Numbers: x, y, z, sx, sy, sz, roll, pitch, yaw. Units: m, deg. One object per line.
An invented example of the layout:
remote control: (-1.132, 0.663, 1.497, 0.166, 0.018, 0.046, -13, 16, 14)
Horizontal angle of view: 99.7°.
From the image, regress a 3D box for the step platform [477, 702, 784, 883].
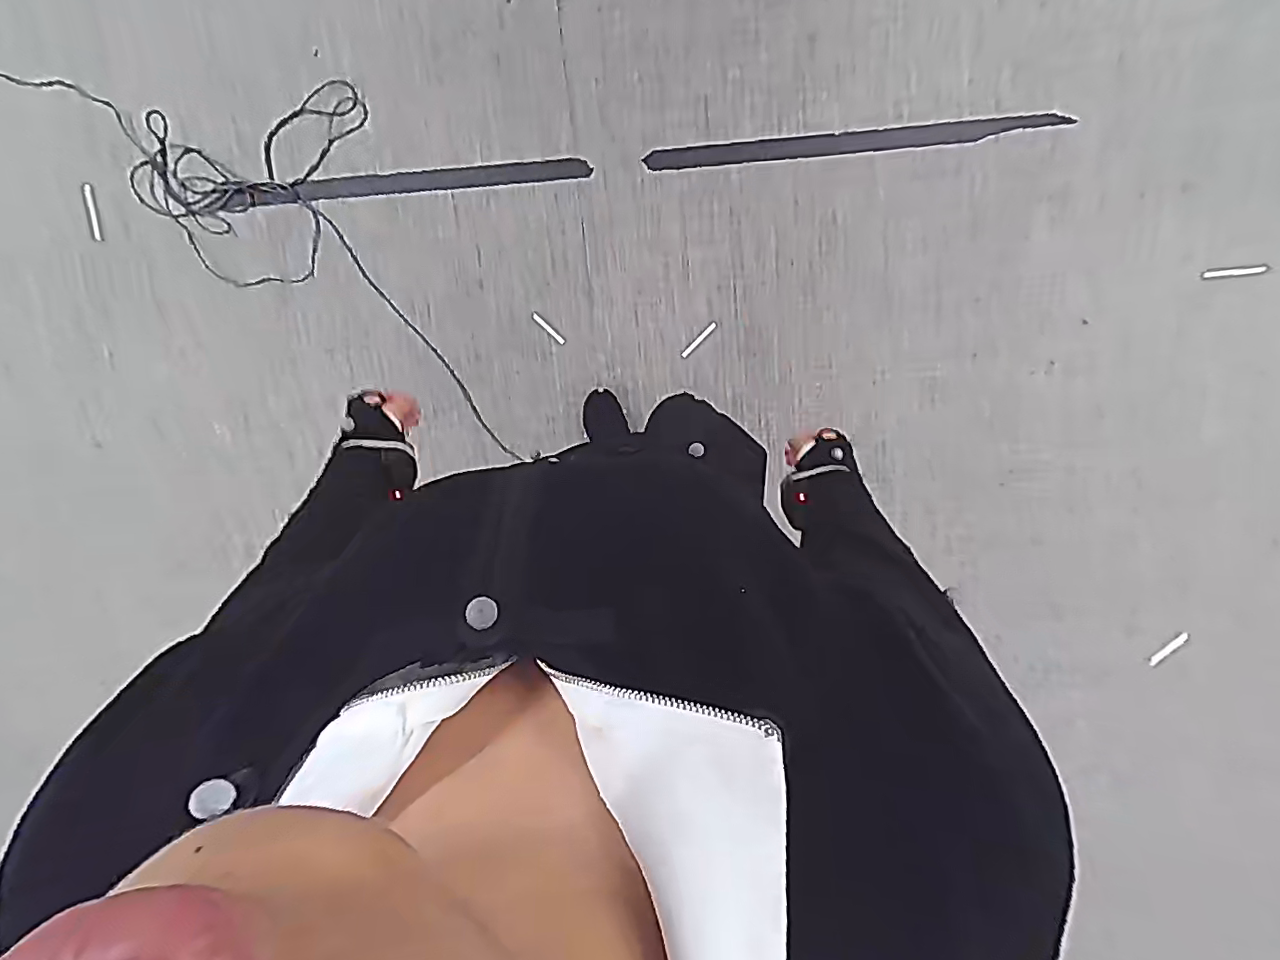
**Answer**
step platform: (-0.019, 0.733, 1.294, 0.684, 0.204, 0.286, -7, 100, 3)

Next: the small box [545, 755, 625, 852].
small box: (-0.129, 0.790, 1.342, 0.179, 0.176, 0.168, -4, 99, 1)
